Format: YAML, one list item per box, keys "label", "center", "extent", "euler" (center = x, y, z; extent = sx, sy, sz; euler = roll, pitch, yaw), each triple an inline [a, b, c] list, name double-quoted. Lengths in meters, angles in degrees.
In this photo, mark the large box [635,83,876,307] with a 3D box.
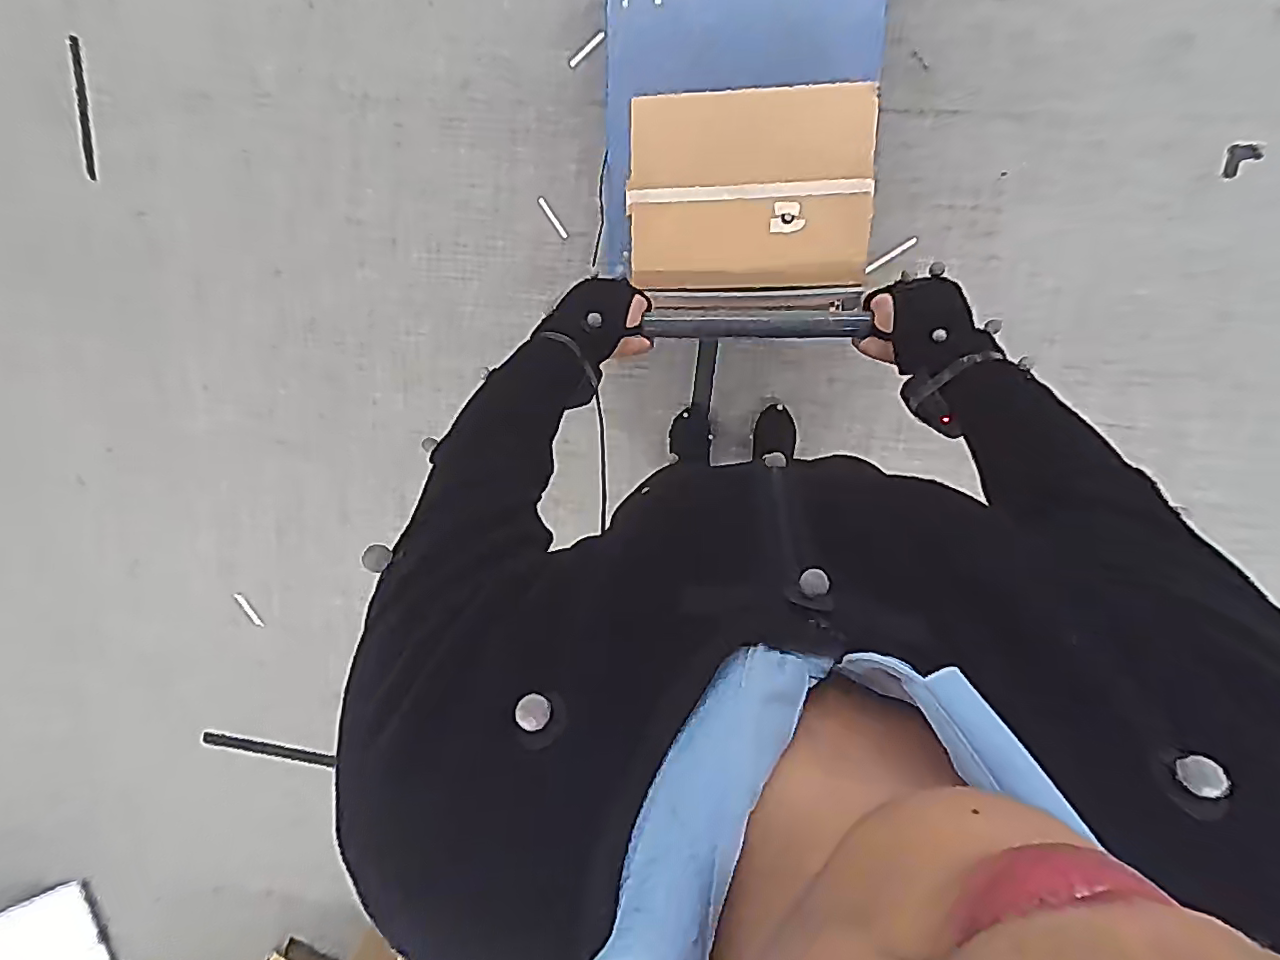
- label: "large box"
  center: [0.207, -0.527, 1.076]
  extent: [0.408, 0.320, 0.320]
  euler: [1, 103, 7]
